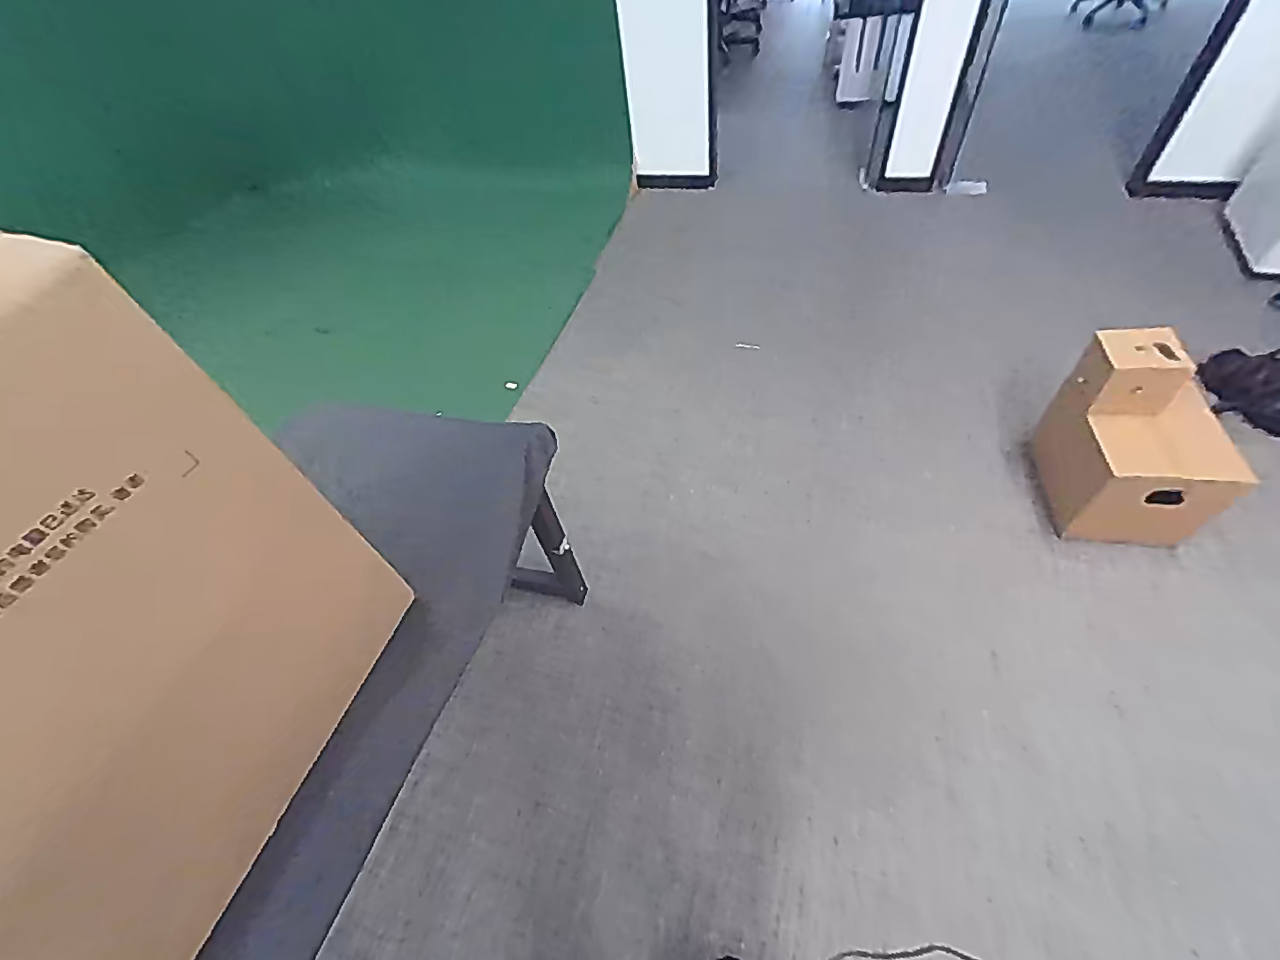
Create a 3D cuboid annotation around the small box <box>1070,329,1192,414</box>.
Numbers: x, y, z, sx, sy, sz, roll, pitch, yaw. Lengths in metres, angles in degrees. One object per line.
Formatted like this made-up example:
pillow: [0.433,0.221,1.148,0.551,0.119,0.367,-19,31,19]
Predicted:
small box: [1.348,-0.298,1.499,0.179,0.176,0.168,2,52,15]
